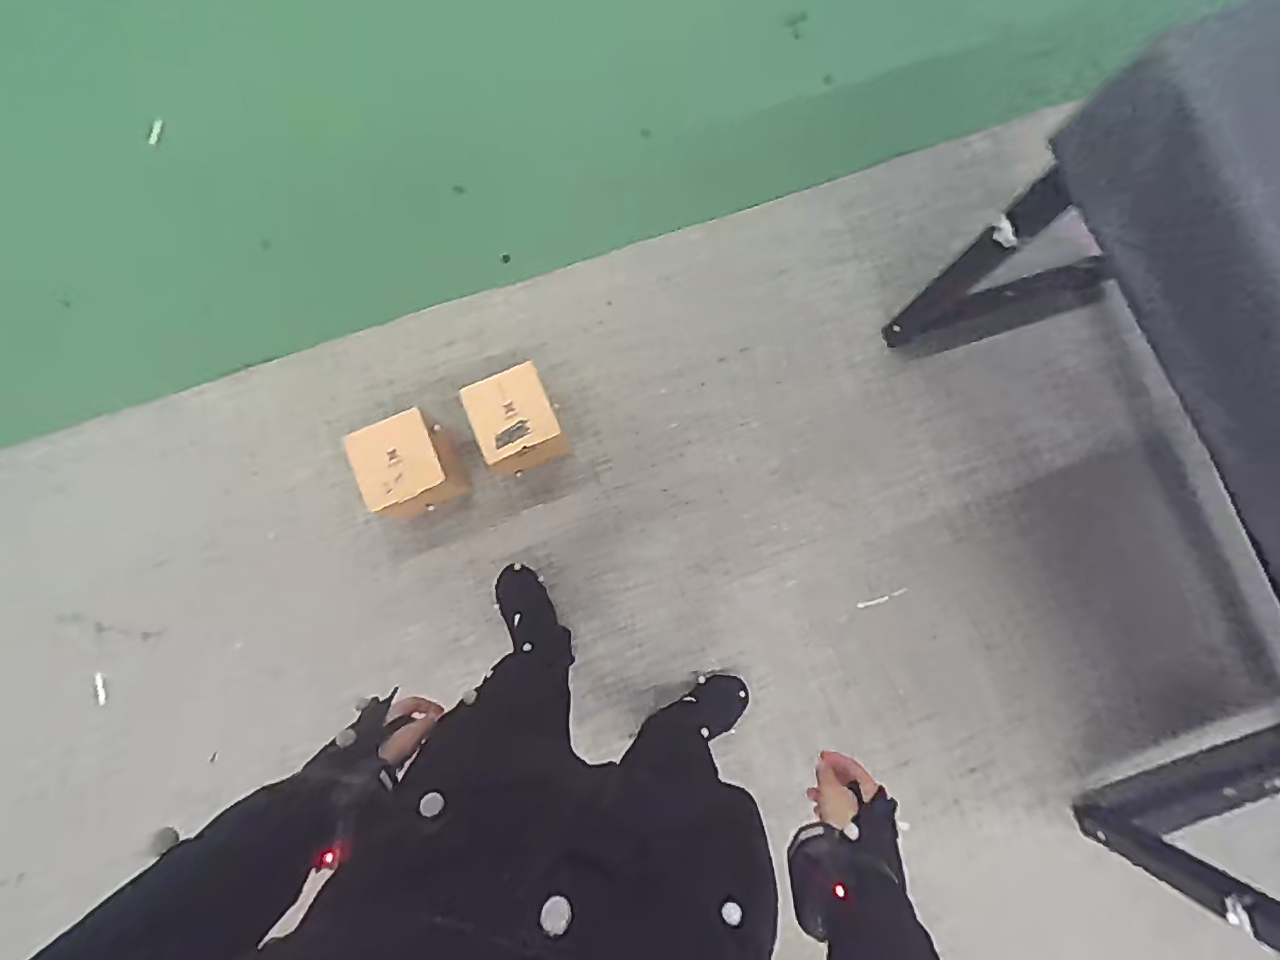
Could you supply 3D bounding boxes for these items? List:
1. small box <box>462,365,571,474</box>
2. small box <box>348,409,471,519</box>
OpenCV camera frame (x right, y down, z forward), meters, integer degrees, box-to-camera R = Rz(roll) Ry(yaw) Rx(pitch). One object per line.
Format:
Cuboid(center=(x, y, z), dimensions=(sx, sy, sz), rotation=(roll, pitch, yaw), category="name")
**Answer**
Cuboid(center=(-0.263, -0.122, 1.192), dimensions=(0.168, 0.176, 0.179), rotation=(-23, 81, -4), category="small box")
Cuboid(center=(-0.493, -0.027, 1.178), dimensions=(0.168, 0.176, 0.179), rotation=(-24, 82, -3), category="small box")
